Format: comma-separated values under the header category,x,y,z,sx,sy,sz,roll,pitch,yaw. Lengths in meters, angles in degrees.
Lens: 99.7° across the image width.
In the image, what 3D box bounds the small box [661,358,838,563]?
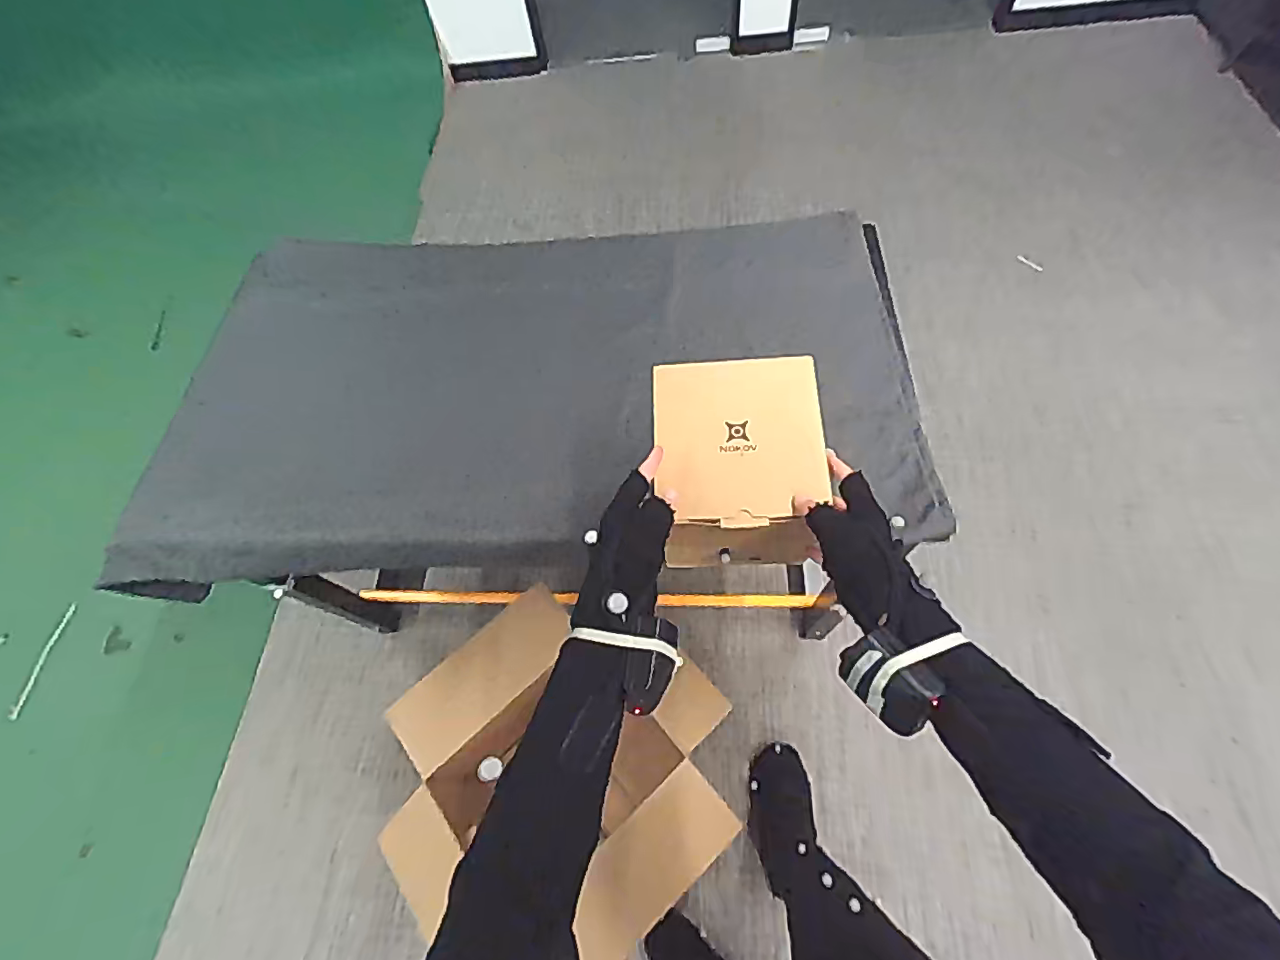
category,x,y,z,sx,sy,sz,roll,pitch,yaw
small box,0.110,-0.013,0.609,0.168,0.176,0.179,-3,68,6
